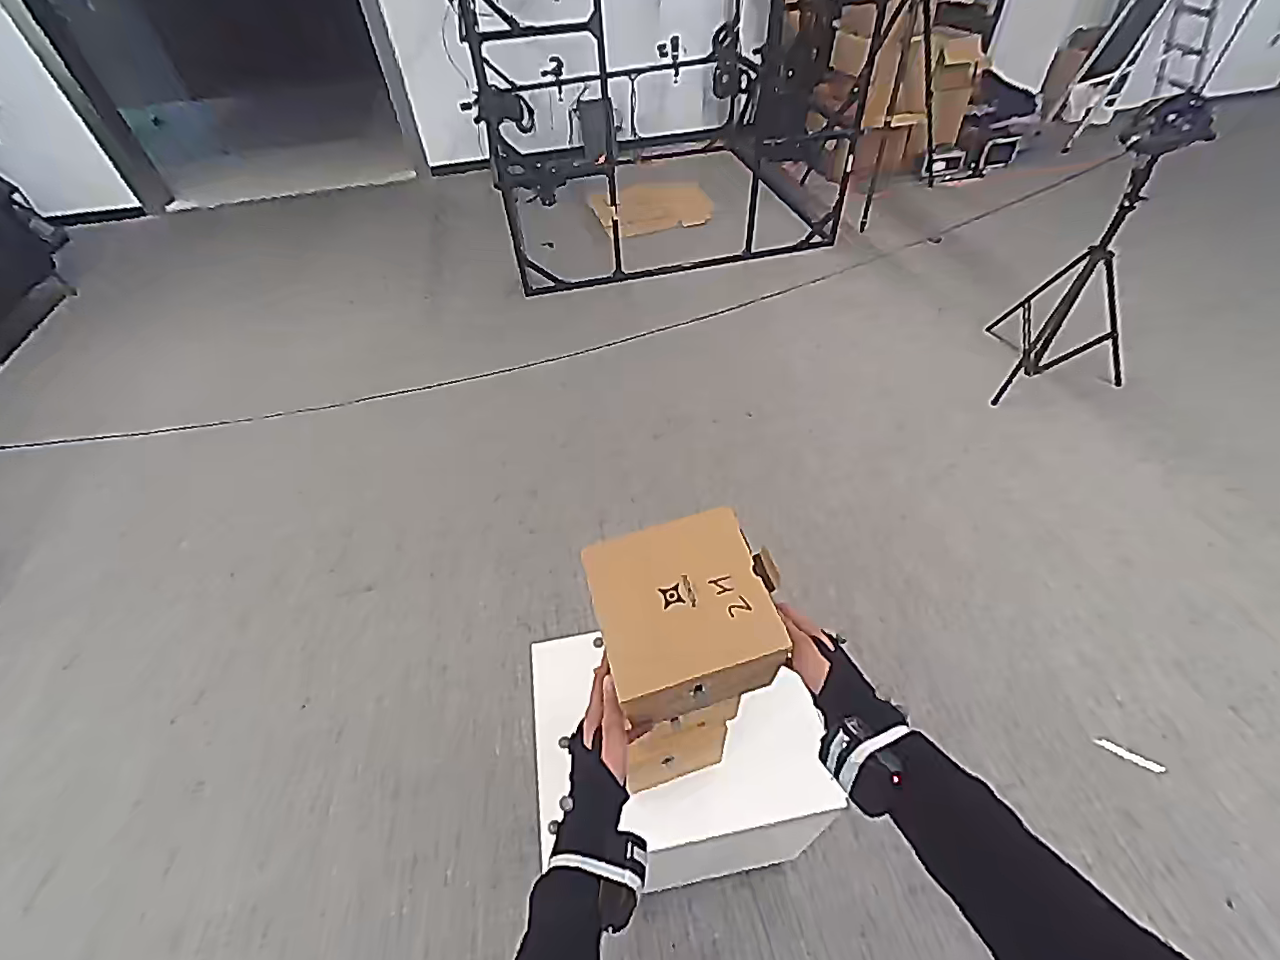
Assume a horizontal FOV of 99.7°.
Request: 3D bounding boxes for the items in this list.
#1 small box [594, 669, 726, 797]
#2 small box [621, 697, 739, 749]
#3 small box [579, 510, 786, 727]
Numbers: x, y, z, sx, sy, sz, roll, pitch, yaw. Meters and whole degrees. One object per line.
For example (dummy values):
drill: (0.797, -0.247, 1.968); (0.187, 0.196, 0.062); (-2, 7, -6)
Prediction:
small box: (0.033, 0.411, 0.923); (0.179, 0.176, 0.168); (-15, 48, -10)
small box: (0.045, 0.283, 0.819); (0.168, 0.176, 0.179); (-15, 47, -9)
small box: (0.045, 0.164, 0.618); (0.179, 0.176, 0.168); (-16, 57, -5)
